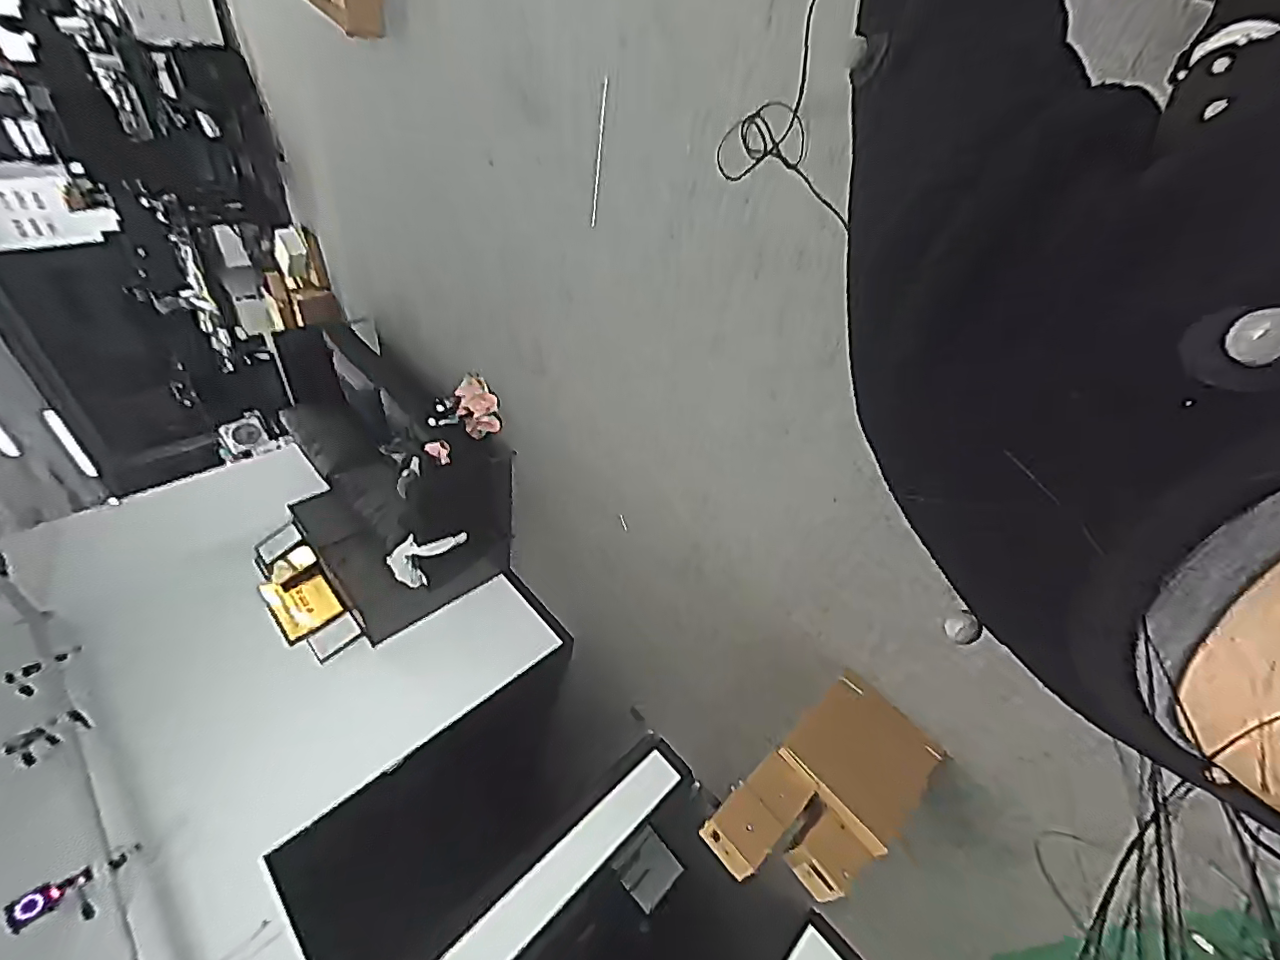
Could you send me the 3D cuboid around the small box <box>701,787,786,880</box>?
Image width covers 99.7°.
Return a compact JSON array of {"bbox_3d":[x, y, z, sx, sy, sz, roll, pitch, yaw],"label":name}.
[{"bbox_3d":[0.328,1.119,1.726,0.179,0.176,0.168,41,139,26],"label":"small box"}]
